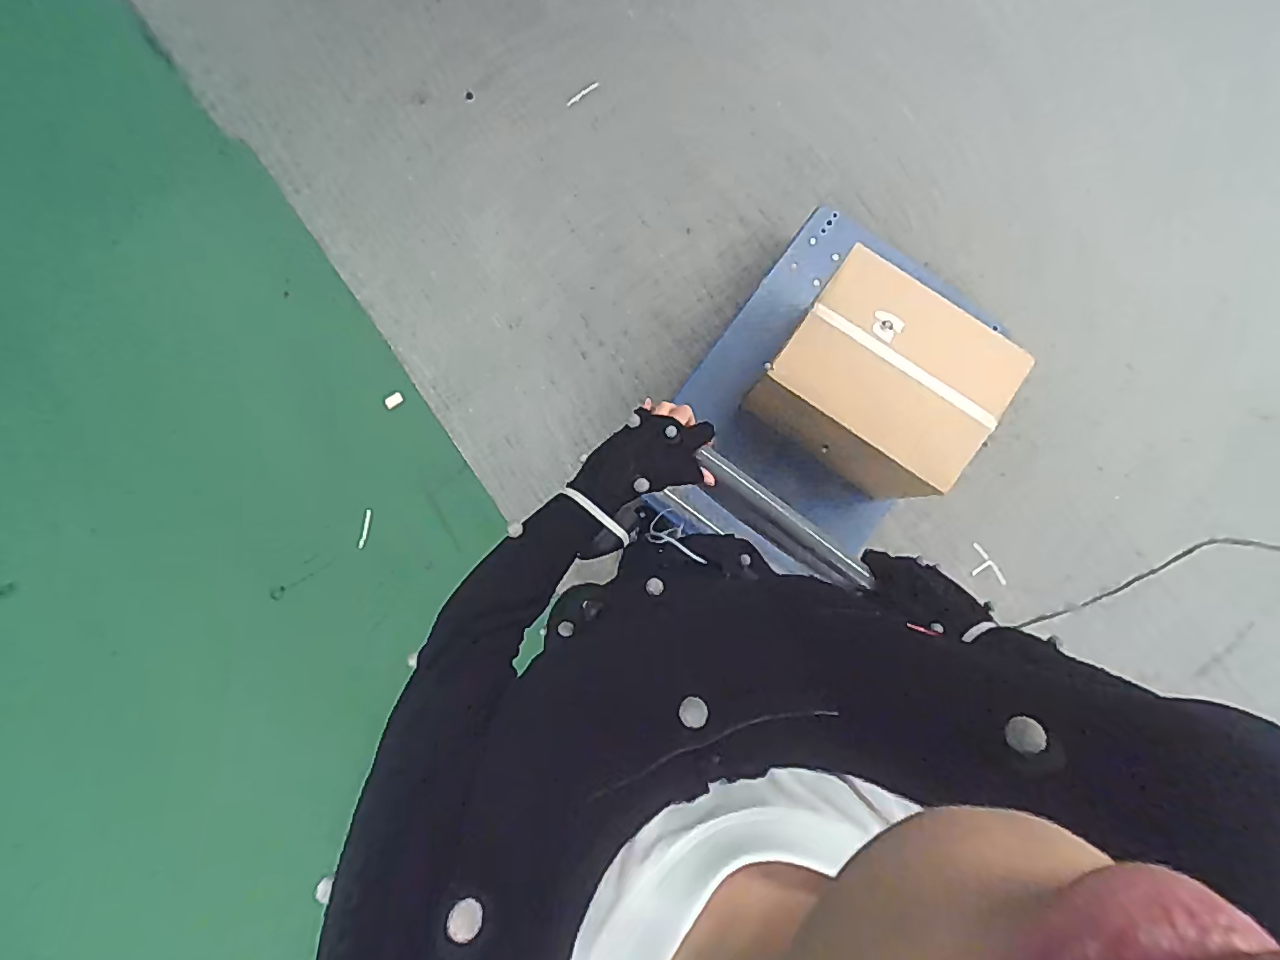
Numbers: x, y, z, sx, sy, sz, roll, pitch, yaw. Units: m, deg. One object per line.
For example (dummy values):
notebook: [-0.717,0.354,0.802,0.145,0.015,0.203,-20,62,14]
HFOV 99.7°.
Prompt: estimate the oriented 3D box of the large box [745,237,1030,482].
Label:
large box: [0.495,-0.230,1.171,0.408,0.320,0.320,34,88,4]
